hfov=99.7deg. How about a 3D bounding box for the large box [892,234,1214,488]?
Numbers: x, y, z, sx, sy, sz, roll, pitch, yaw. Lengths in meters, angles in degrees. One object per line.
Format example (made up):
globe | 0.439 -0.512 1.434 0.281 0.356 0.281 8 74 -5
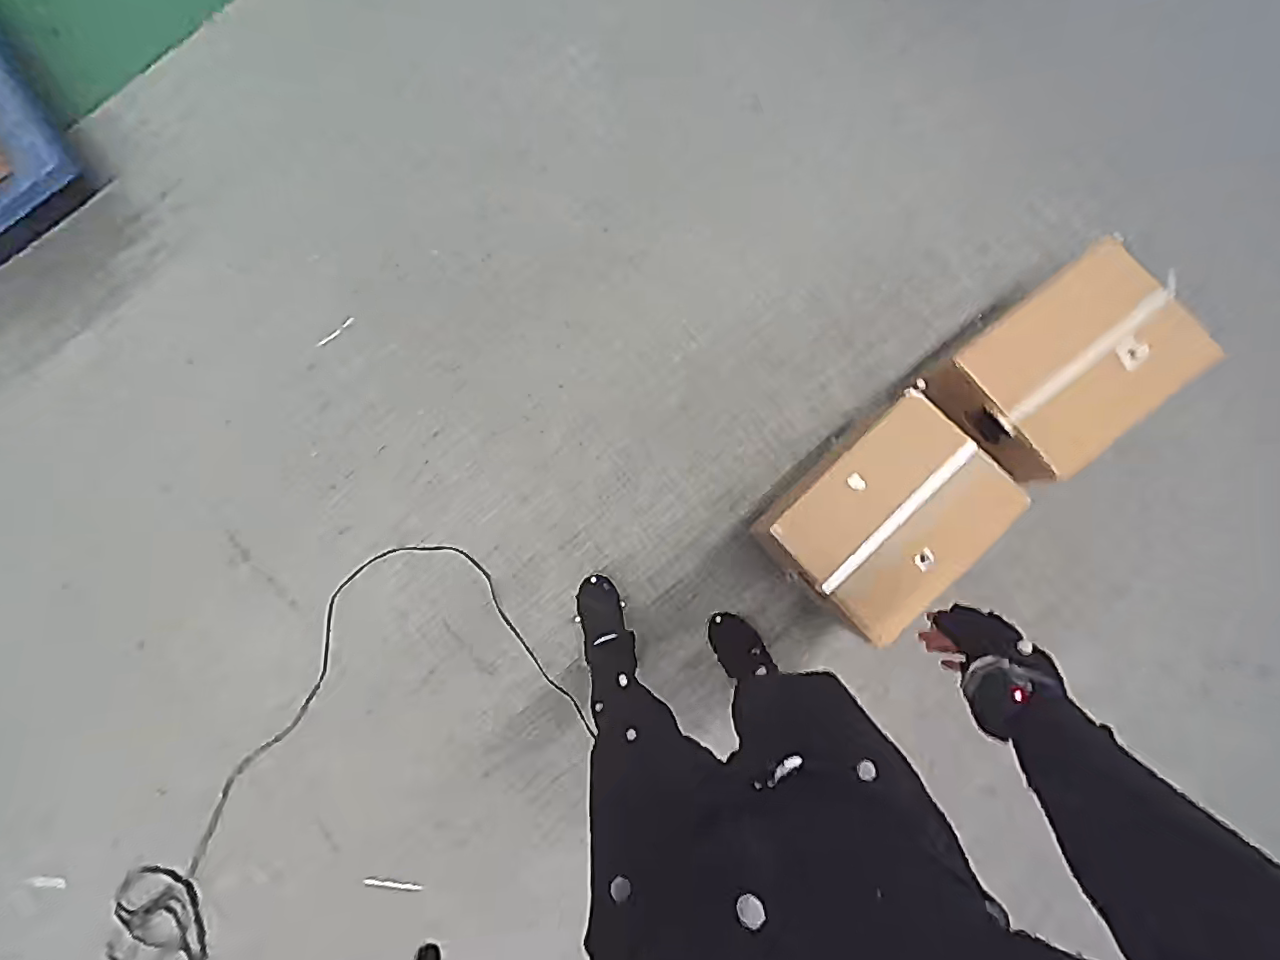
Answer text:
large box | 0.862 -0.232 1.193 0.408 0.320 0.320 -38 85 -2
